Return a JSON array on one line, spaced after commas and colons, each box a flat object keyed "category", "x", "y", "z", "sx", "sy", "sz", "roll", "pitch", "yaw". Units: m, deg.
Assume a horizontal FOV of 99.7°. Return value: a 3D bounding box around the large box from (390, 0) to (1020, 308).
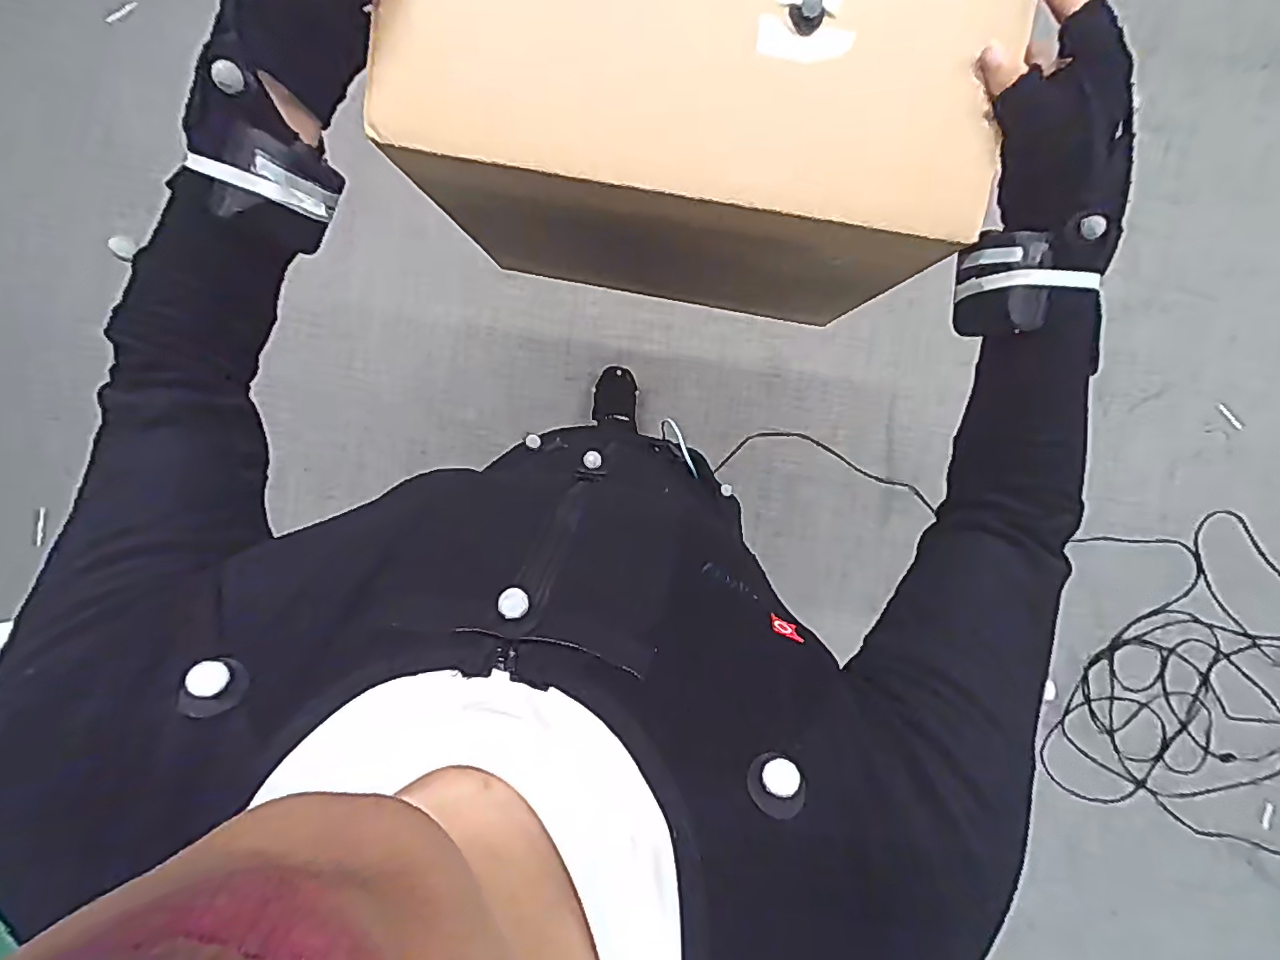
[{"category": "large box", "x": 0.052, "y": -0.369, "z": 0.491, "sx": 0.408, "sy": 0.320, "sz": 0.320, "roll": 10, "pitch": 98, "yaw": 0}]
